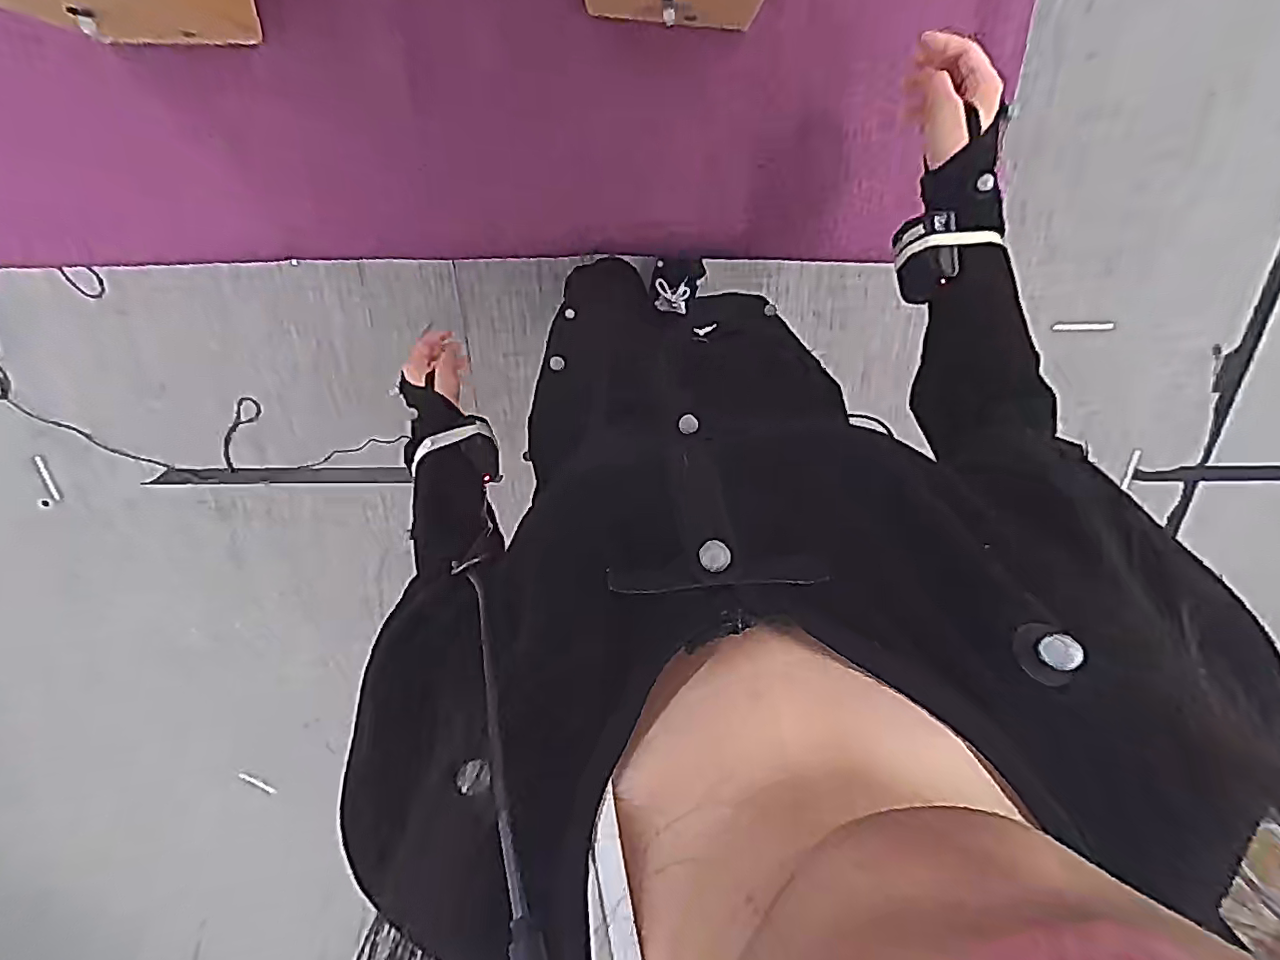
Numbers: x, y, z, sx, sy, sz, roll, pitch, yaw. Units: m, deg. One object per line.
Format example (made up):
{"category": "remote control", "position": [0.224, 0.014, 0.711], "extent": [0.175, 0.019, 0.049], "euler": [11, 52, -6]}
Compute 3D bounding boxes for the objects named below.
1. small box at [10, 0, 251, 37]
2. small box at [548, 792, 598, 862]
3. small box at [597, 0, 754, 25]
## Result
{"category": "small box", "position": [-0.469, -0.496, 0.446], "extent": [0.168, 0.176, 0.179], "euler": [0, 114, 0]}
{"category": "small box", "position": [-0.255, 1.335, 2.084], "extent": [0.168, 0.176, 0.179], "euler": [-1, 115, 2]}
{"category": "small box", "position": [0.034, -0.515, 0.438], "extent": [0.168, 0.176, 0.179], "euler": [5, 115, -2]}
